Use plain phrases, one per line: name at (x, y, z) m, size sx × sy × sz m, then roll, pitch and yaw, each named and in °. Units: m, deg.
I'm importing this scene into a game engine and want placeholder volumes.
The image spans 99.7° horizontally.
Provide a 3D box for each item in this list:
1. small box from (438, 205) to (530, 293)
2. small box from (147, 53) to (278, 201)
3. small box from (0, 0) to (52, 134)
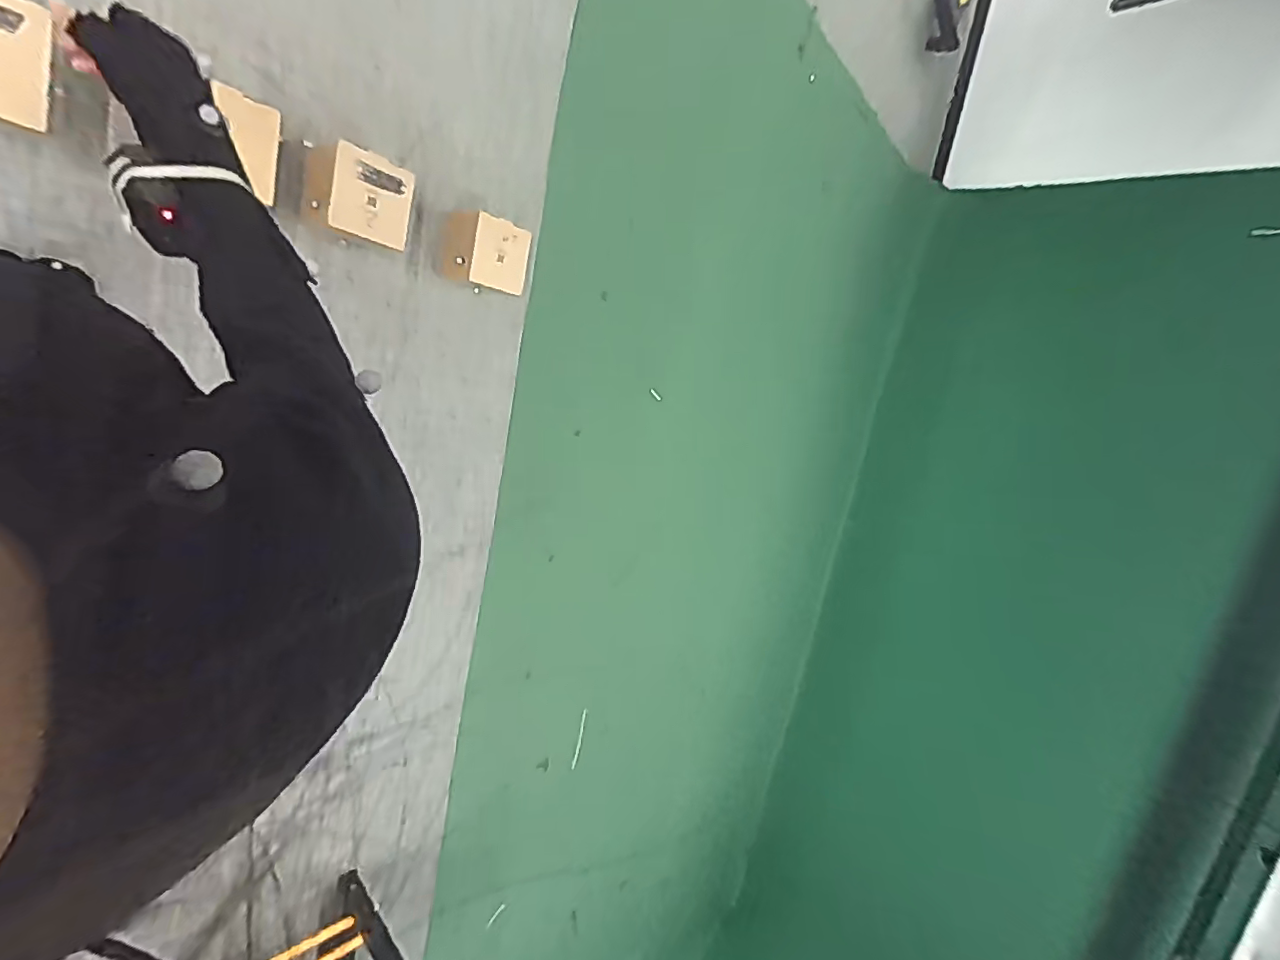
small box at (-0.429, -0.624, 1.473) m, size 0.168 × 0.176 × 0.179 m, roll 1°, pitch 106°, yaw -50°
small box at (-0.811, -0.649, 1.024) m, size 0.168 × 0.176 × 0.179 m, roll 1°, pitch 105°, yaw -49°
small box at (-1.004, -0.651, 0.801) m, size 0.168 × 0.176 × 0.179 m, roll 3°, pitch 104°, yaw -49°
